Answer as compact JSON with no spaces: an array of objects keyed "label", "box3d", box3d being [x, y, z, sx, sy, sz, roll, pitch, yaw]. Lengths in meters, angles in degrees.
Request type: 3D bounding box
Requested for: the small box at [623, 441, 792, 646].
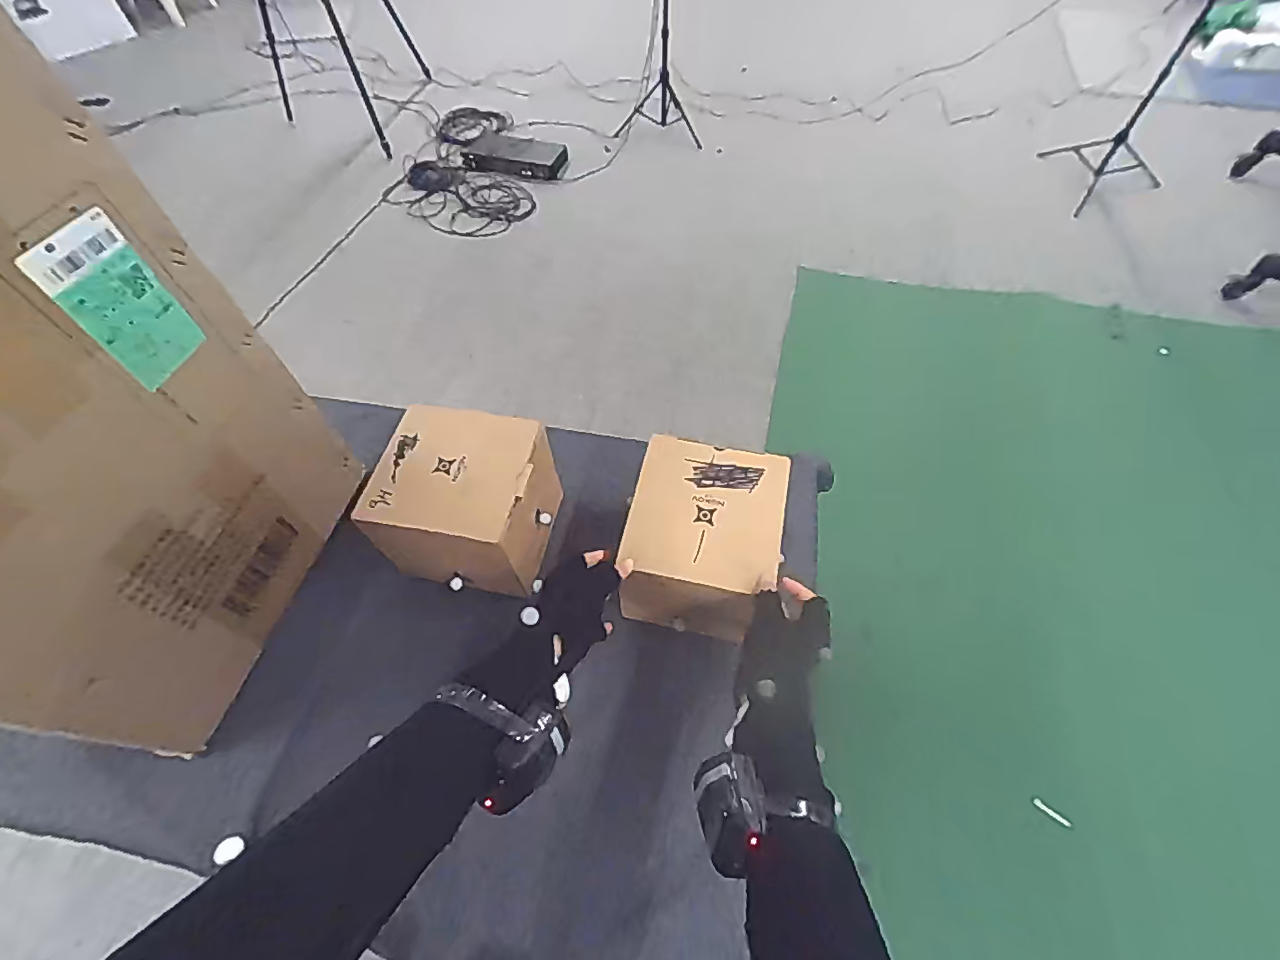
[{"label":"small box","box3d":[0.080,0.082,0.660,0.168,0.176,0.179,10,59,8]}]
